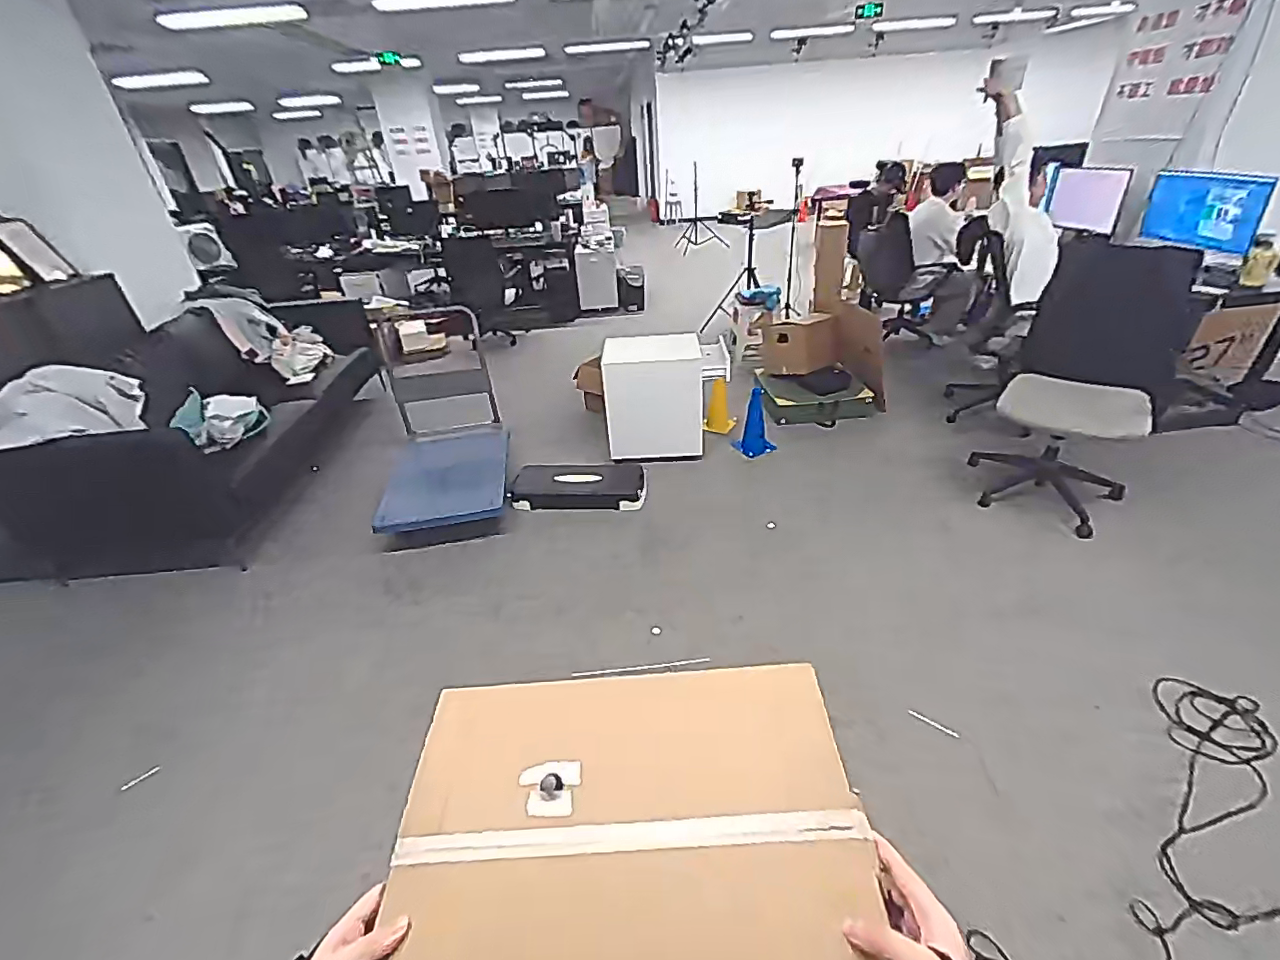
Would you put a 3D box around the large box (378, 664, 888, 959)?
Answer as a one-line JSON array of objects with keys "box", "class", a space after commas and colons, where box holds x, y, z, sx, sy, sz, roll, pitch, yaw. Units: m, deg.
[{"box": [0.006, 0.433, 0.573, 0.408, 0.320, 0.320, -7, 38, 5], "class": "large box"}]
